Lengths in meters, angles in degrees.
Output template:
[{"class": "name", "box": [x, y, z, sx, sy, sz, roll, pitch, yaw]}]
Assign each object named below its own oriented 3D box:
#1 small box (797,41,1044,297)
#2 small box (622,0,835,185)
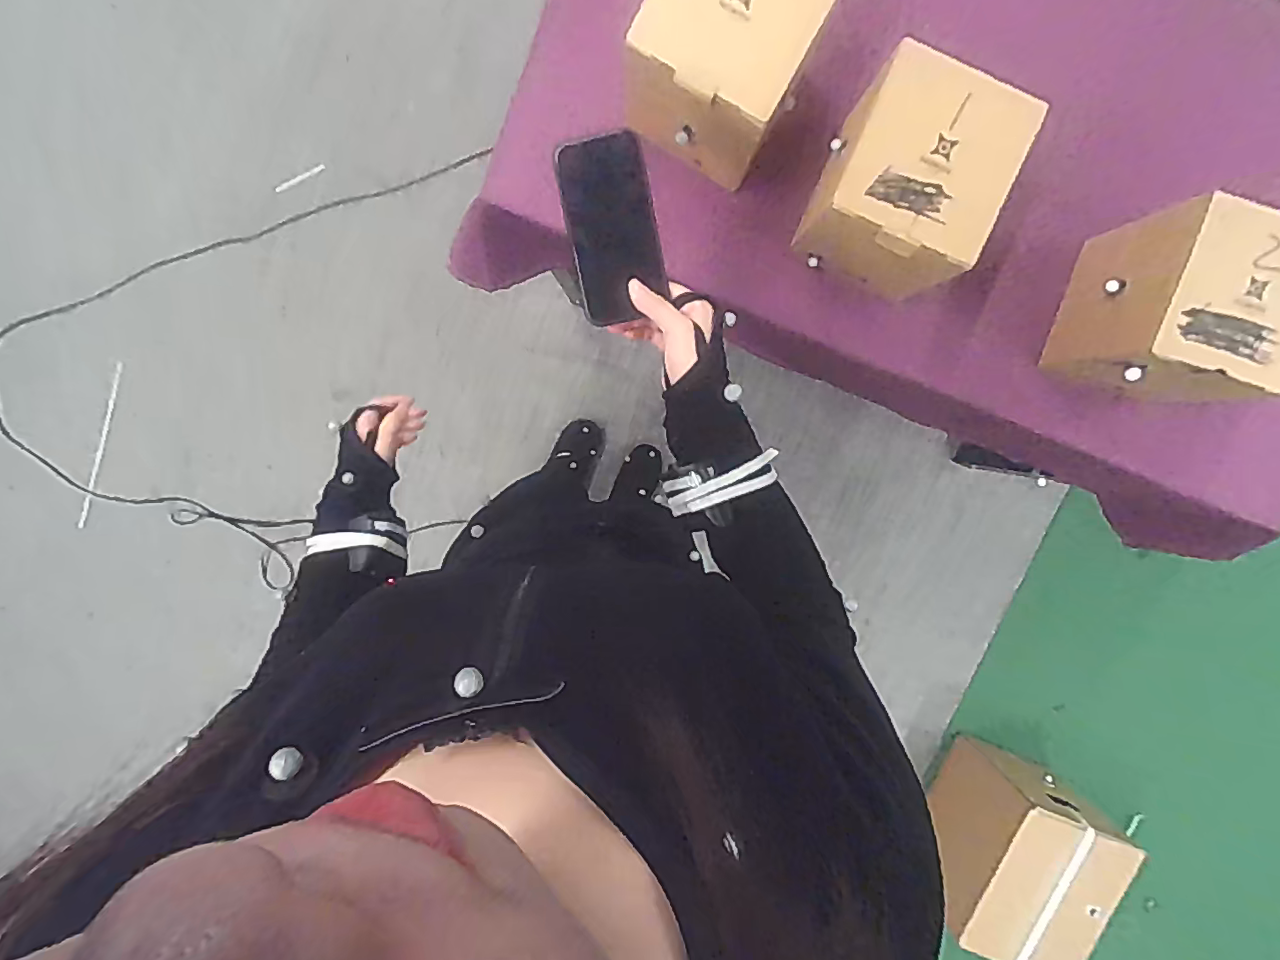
[{"class": "small box", "box": [0.302, -0.337, 0.629, 0.168, 0.176, 0.179, 23, 96, -3]}, {"class": "small box", "box": [0.095, -0.477, 0.612, 0.168, 0.176, 0.179, 30, 97, -4]}]
